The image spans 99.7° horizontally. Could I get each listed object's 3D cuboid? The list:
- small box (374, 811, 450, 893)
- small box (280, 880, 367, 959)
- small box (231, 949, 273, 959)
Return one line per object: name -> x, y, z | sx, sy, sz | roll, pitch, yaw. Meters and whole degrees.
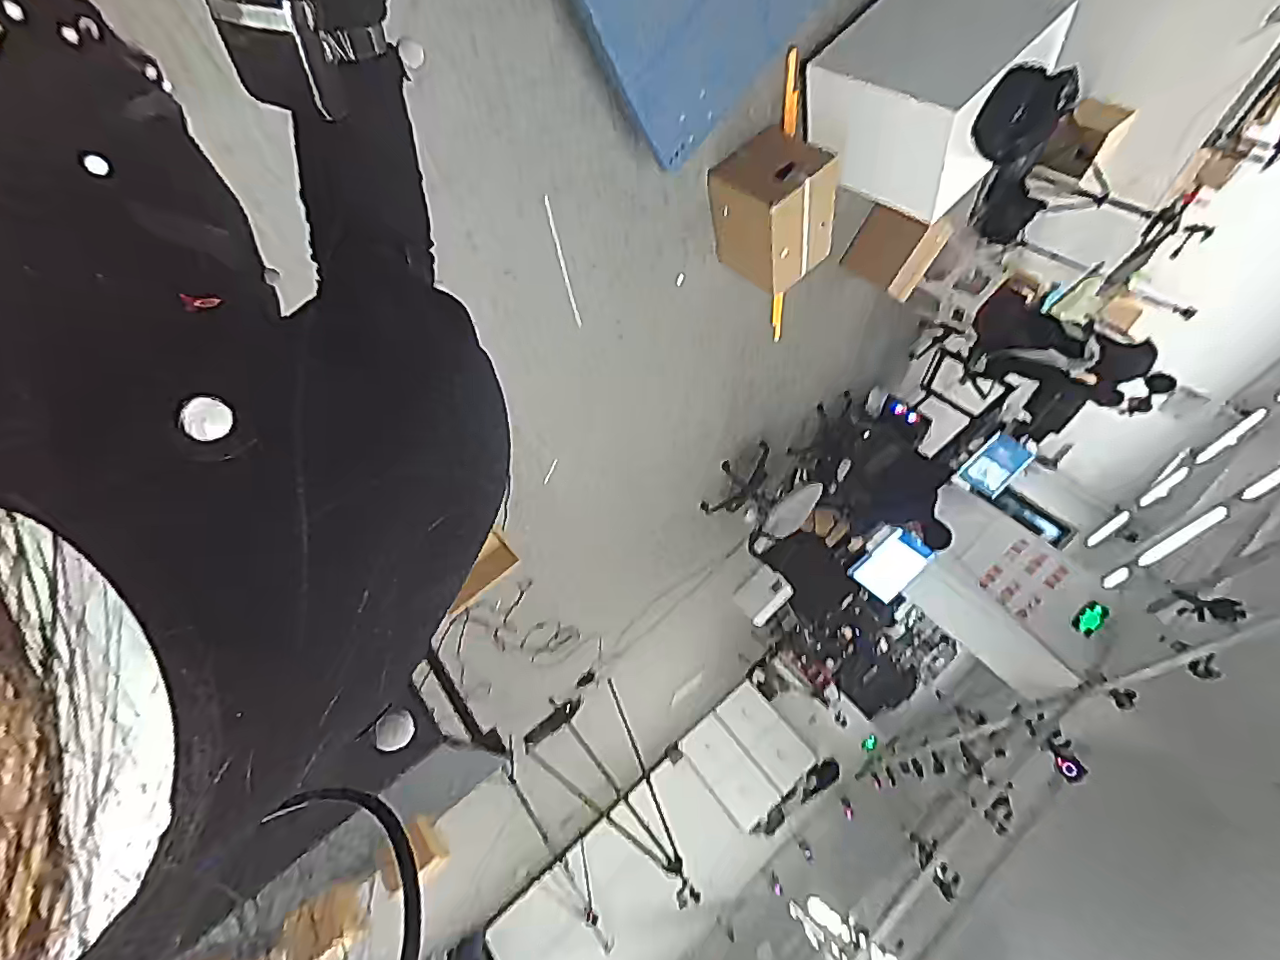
small box -> -0.811, 1.312, 1.909 | 0.179, 0.176, 0.168 | -34, 150, -17
small box -> -1.060, 1.480, 1.807 | 0.168, 0.176, 0.179 | -35, 150, -19
small box -> -1.283, 1.643, 1.719 | 0.168, 0.176, 0.179 | -35, 149, -19
